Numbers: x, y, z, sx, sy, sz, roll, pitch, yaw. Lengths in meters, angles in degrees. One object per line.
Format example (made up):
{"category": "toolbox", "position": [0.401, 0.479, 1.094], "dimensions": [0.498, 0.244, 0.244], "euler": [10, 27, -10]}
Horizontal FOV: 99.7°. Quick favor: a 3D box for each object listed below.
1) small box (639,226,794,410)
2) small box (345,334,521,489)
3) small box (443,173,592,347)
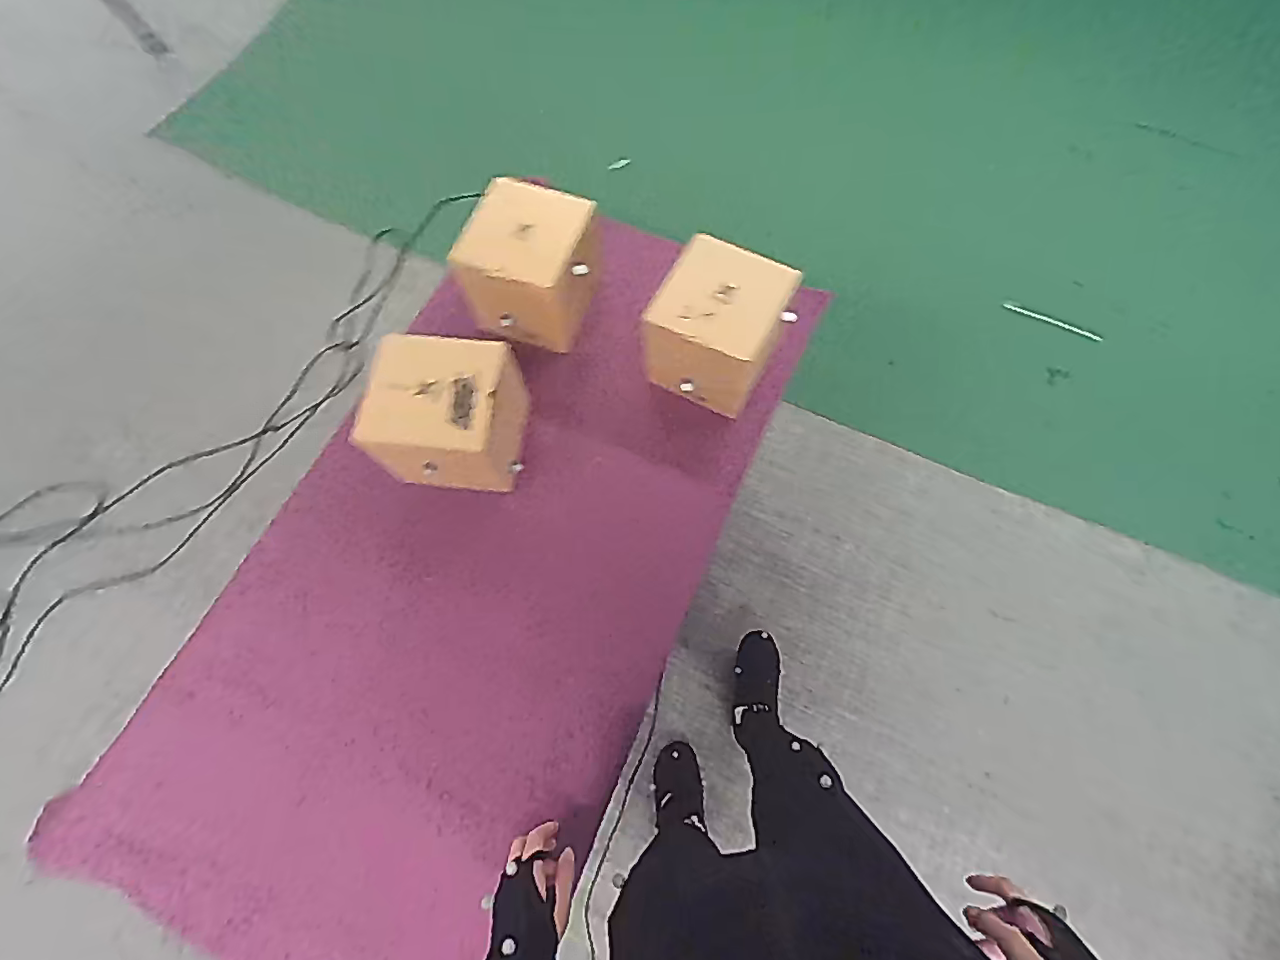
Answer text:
{"category": "small box", "position": [0.111, -0.240, 0.829], "dimensions": [0.168, 0.176, 0.179], "euler": [26, 74, 12]}
{"category": "small box", "position": [-0.284, -0.092, 0.791], "dimensions": [0.179, 0.176, 0.168], "euler": [4, 71, 3]}
{"category": "small box", "position": [-0.184, -0.350, 0.879], "dimensions": [0.168, 0.176, 0.179], "euler": [18, 73, 7]}
